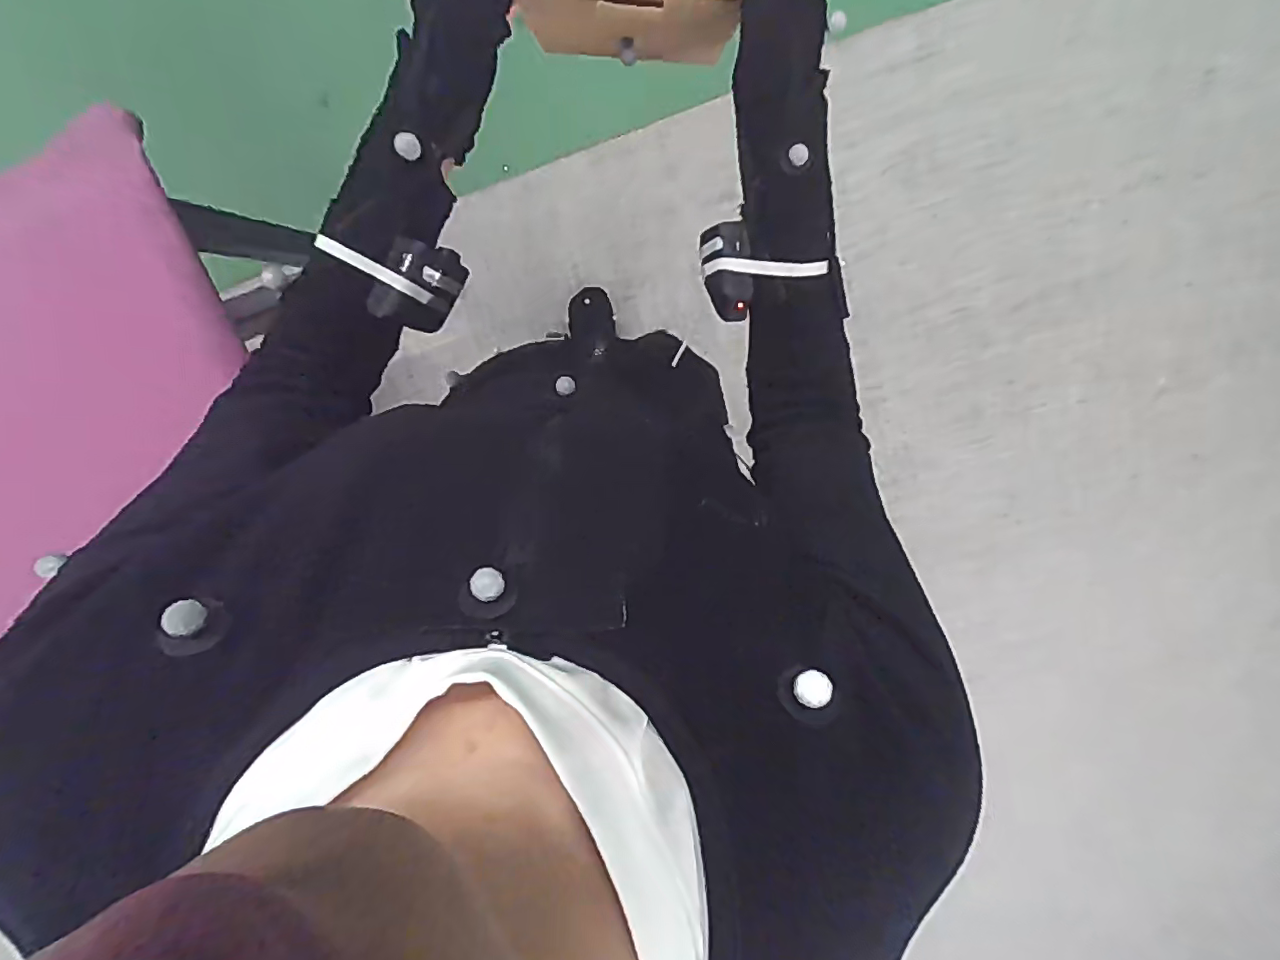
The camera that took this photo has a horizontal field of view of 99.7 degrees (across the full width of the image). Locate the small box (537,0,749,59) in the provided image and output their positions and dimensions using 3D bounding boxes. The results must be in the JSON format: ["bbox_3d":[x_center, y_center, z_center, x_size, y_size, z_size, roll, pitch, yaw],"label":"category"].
[{"bbox_3d":[0.001,-0.443,0.393,0.168,0.176,0.179,4,116,-2],"label":"small box"}]
